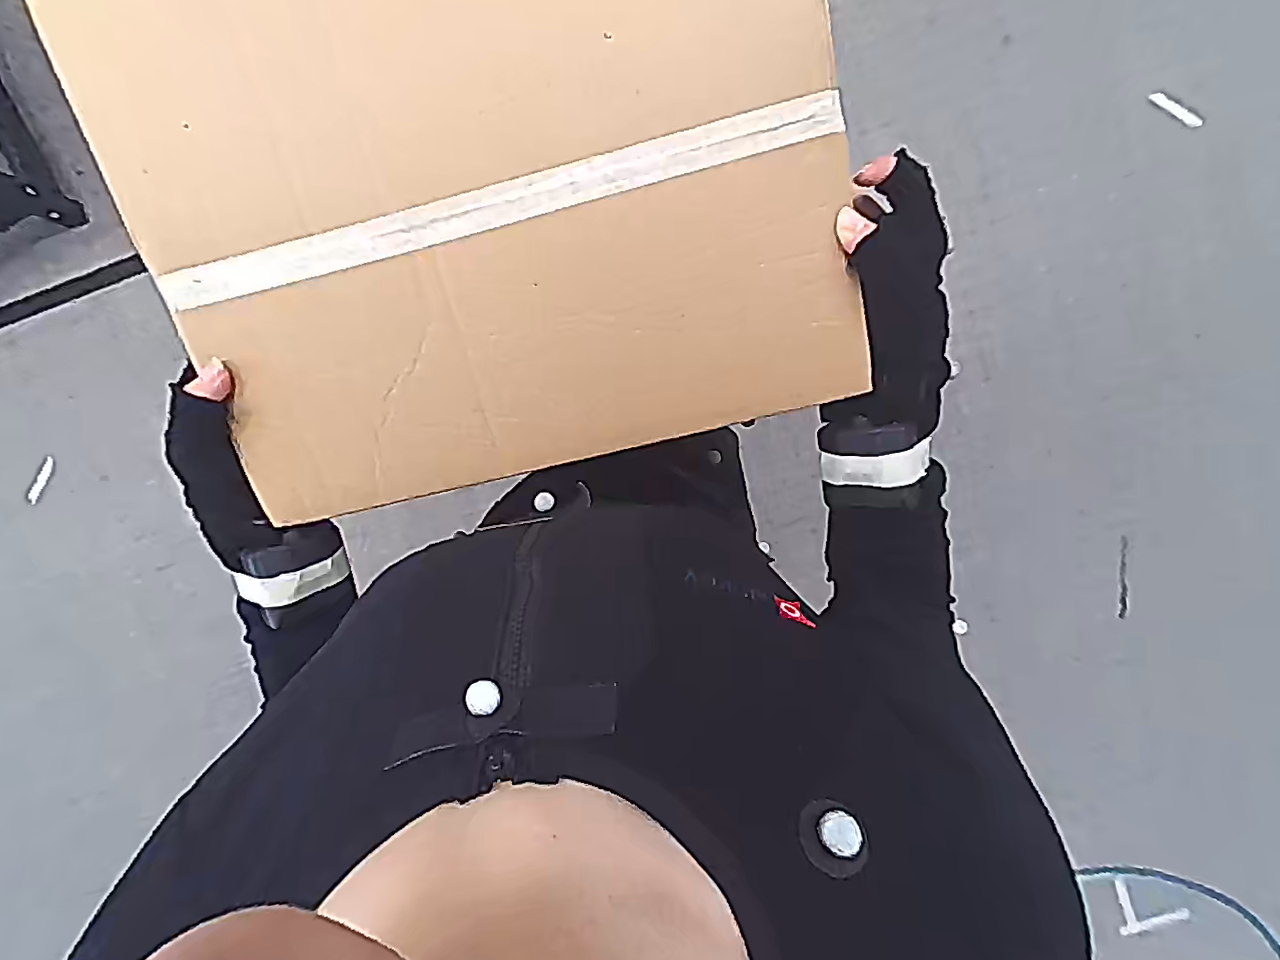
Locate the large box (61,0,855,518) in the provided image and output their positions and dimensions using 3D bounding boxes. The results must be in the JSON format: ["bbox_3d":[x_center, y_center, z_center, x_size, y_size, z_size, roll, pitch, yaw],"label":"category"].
[{"bbox_3d":[-0.086,-0.205,0.462,0.408,0.320,0.320,-13,106,5],"label":"large box"}]
